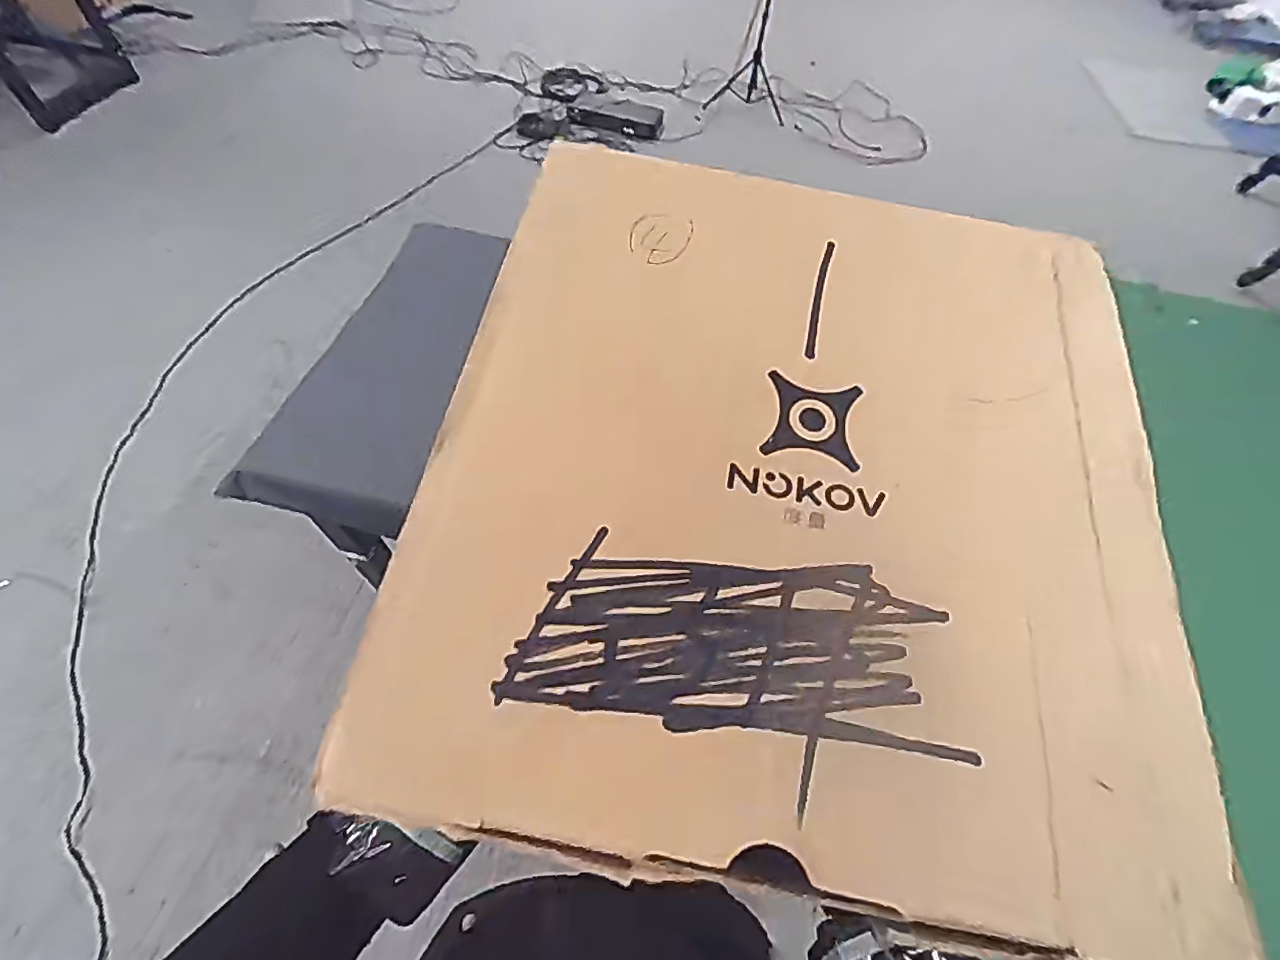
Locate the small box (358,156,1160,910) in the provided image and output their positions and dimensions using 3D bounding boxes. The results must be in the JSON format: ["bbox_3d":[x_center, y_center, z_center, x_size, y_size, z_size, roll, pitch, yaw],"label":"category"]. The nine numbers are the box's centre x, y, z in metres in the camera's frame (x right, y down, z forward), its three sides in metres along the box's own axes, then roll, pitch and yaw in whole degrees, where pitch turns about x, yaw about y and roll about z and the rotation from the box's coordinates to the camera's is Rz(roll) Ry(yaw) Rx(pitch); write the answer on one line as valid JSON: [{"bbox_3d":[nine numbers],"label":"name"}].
[{"bbox_3d":[0.033,0.020,0.213,0.168,0.176,0.179,12,67,0],"label":"small box"}]
